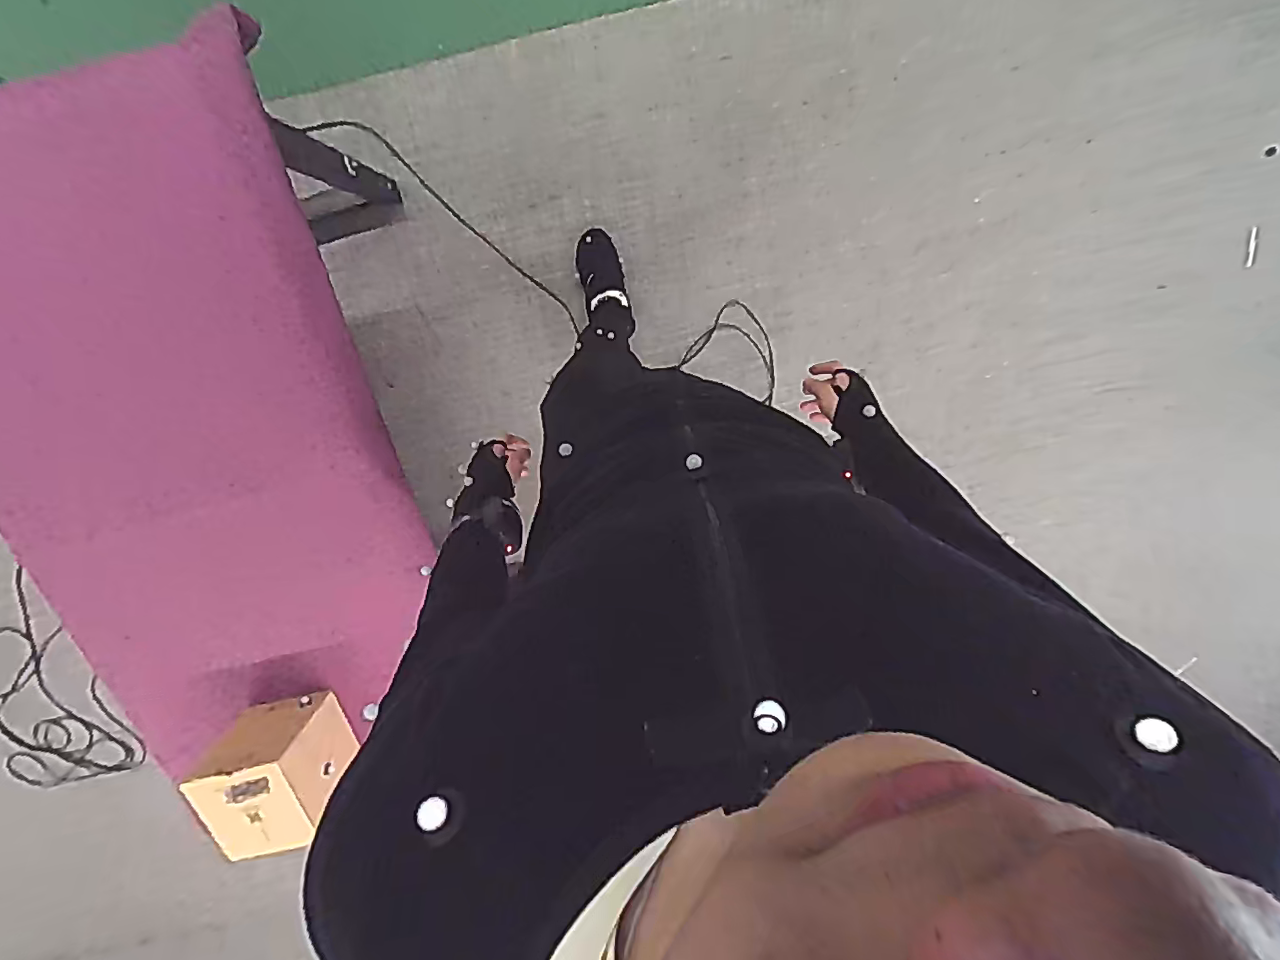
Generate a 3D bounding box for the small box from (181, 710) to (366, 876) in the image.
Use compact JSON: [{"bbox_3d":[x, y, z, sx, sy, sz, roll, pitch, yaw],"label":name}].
[{"bbox_3d":[-0.608,0.521,0.924,0.168,0.176,0.179,-13,108,2],"label":"small box"}]
